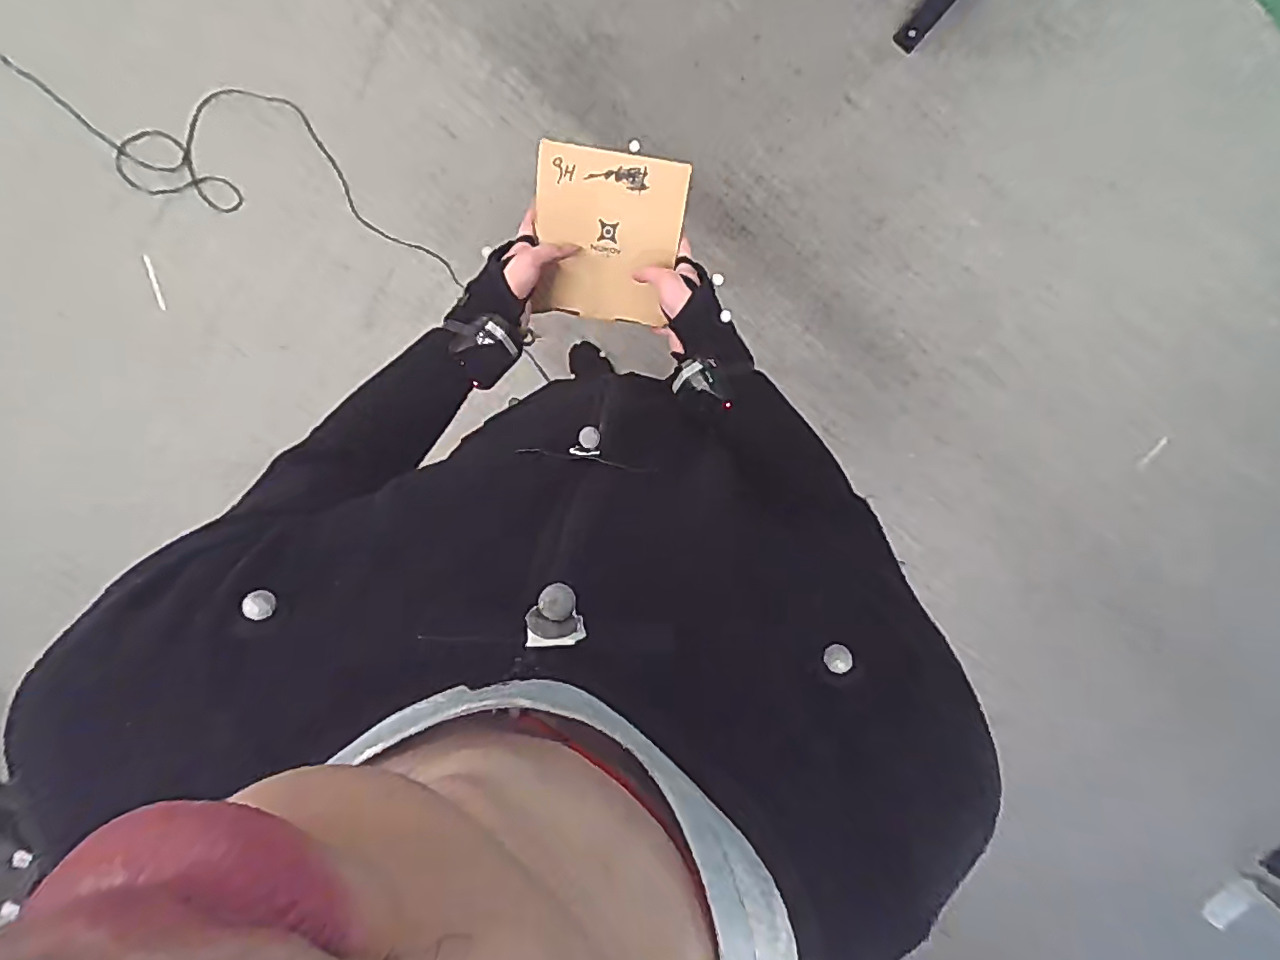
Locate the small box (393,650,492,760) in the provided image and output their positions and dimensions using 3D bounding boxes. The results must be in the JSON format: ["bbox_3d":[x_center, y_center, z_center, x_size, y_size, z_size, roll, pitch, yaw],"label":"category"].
[{"bbox_3d":[-0.520,0.595,1.453,0.168,0.176,0.179,35,102,-8],"label":"small box"}]

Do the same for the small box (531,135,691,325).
[{"bbox_3d":[-0.034,-0.310,0.670,0.168,0.176,0.179,7,120,-2],"label":"small box"}]
